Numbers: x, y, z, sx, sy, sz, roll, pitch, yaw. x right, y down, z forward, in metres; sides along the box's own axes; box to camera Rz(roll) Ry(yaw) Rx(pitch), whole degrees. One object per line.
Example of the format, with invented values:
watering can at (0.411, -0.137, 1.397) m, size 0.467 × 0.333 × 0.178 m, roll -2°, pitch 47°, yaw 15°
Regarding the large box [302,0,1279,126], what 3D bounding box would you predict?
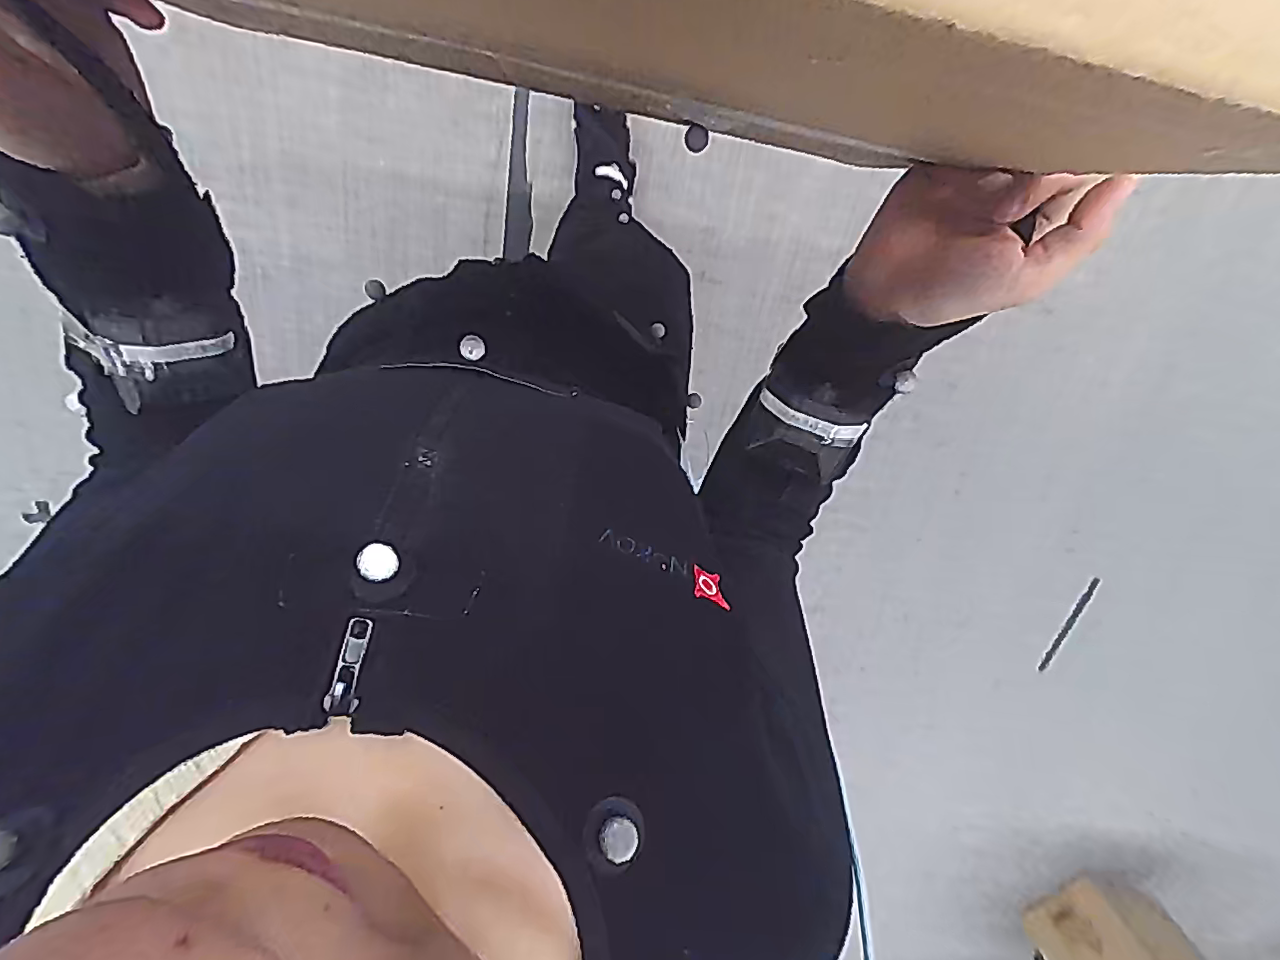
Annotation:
large box at (-0.002, -0.316, 0.134) m, size 0.408 × 0.320 × 0.320 m, roll 6°, pitch 121°, yaw -9°
